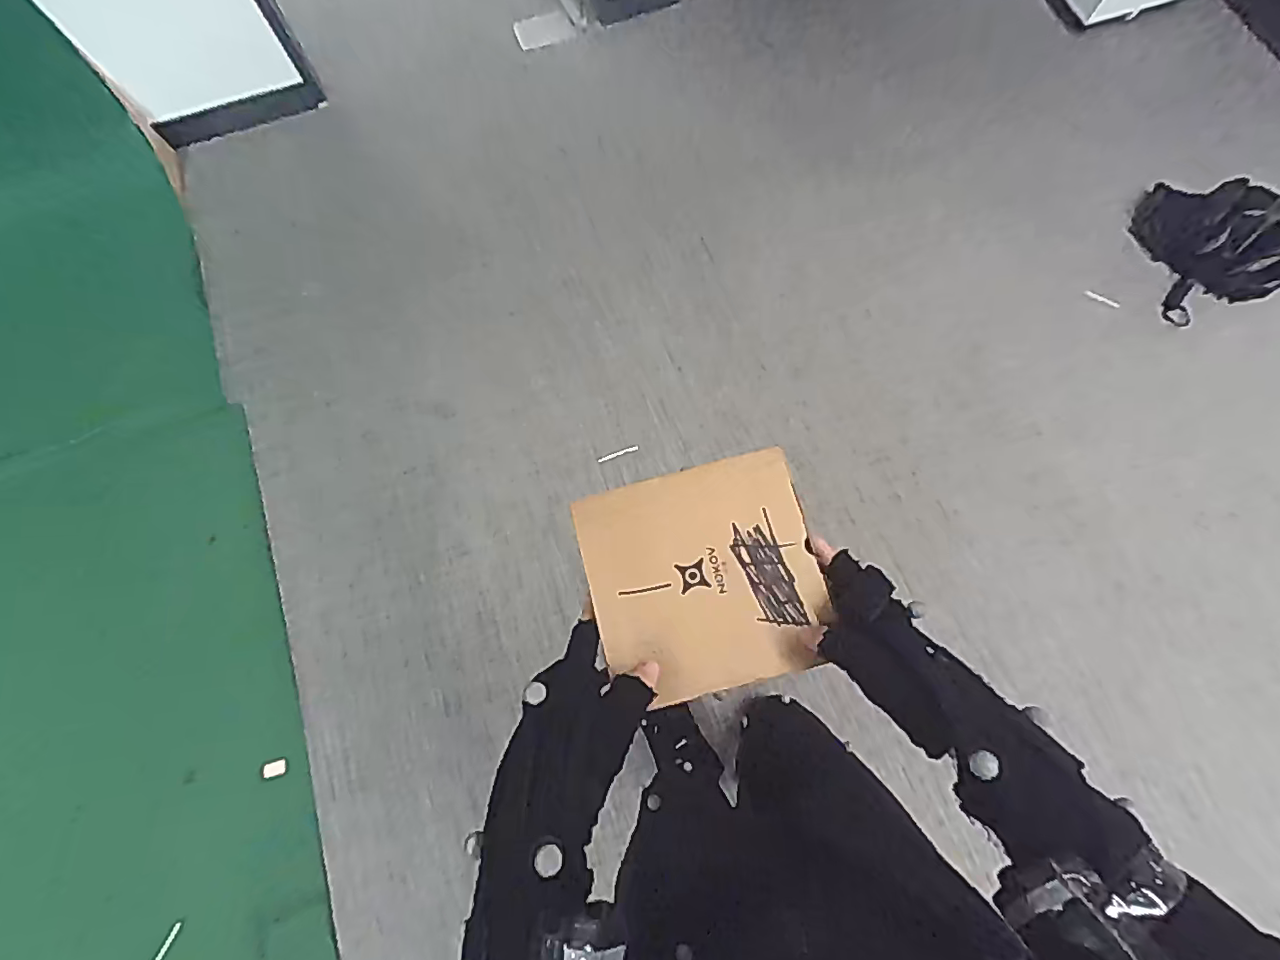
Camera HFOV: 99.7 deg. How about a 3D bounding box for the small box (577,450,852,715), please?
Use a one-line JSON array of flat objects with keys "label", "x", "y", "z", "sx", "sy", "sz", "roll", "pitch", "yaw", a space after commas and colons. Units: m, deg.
[{"label": "small box", "x": 0.056, "y": 0.092, "z": 0.494, "sx": 0.179, "sy": 0.176, "sz": 0.168, "roll": -18, "pitch": 75, "yaw": -2}]
